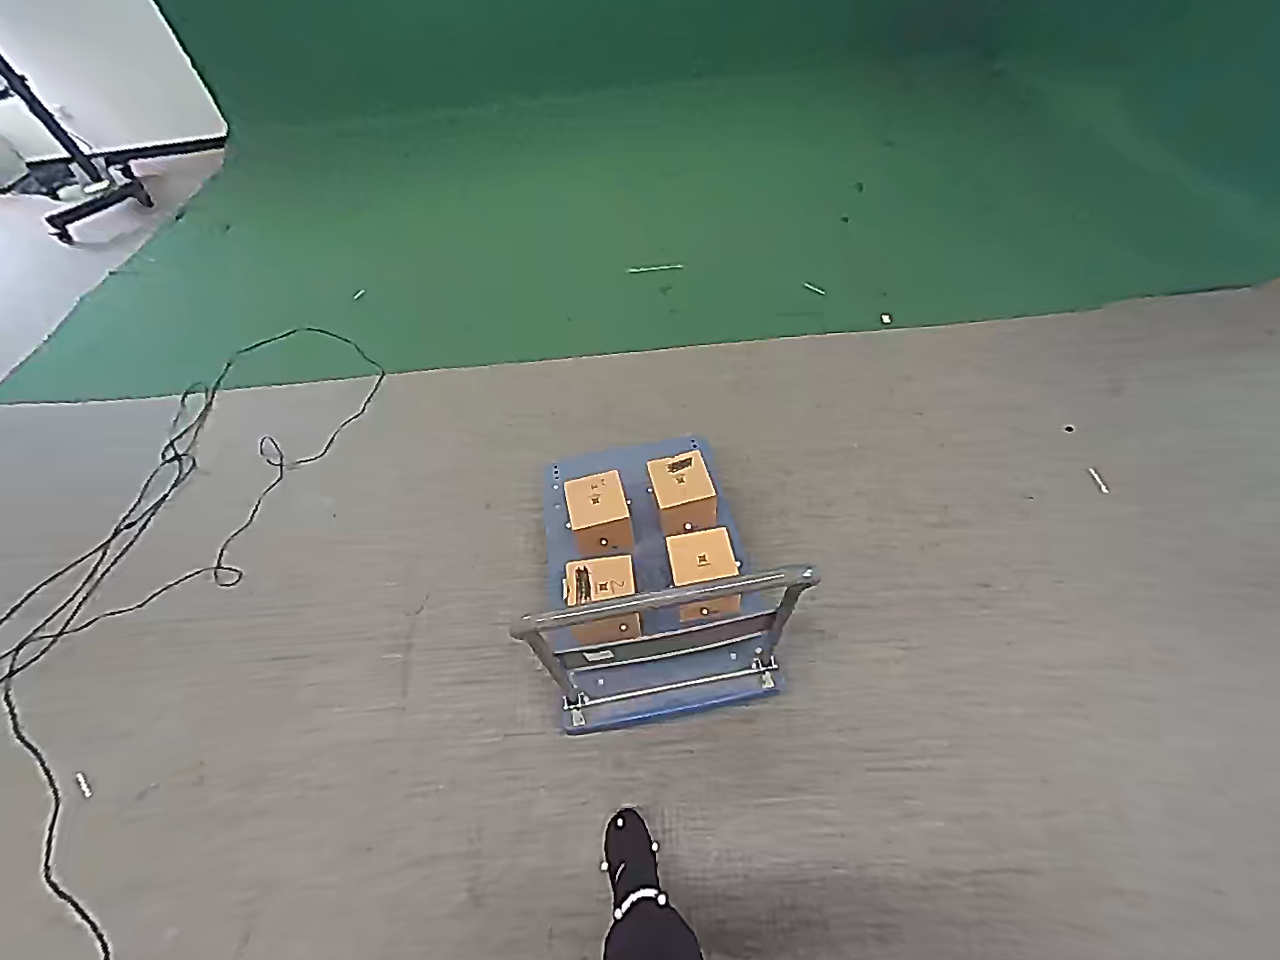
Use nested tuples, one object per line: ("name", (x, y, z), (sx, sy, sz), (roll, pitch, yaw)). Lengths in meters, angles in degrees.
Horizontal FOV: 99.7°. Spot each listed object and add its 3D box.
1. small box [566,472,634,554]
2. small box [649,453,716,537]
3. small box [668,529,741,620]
("small box", (-0.117, 0.108, 1.627), (0.168, 0.176, 0.179), (-13, 53, -4))
("small box", (0.127, 0.048, 1.644), (0.168, 0.176, 0.179), (-14, 54, -3))
("small box", (0.171, 0.260, 1.482), (0.168, 0.176, 0.179), (-10, 53, -1))
